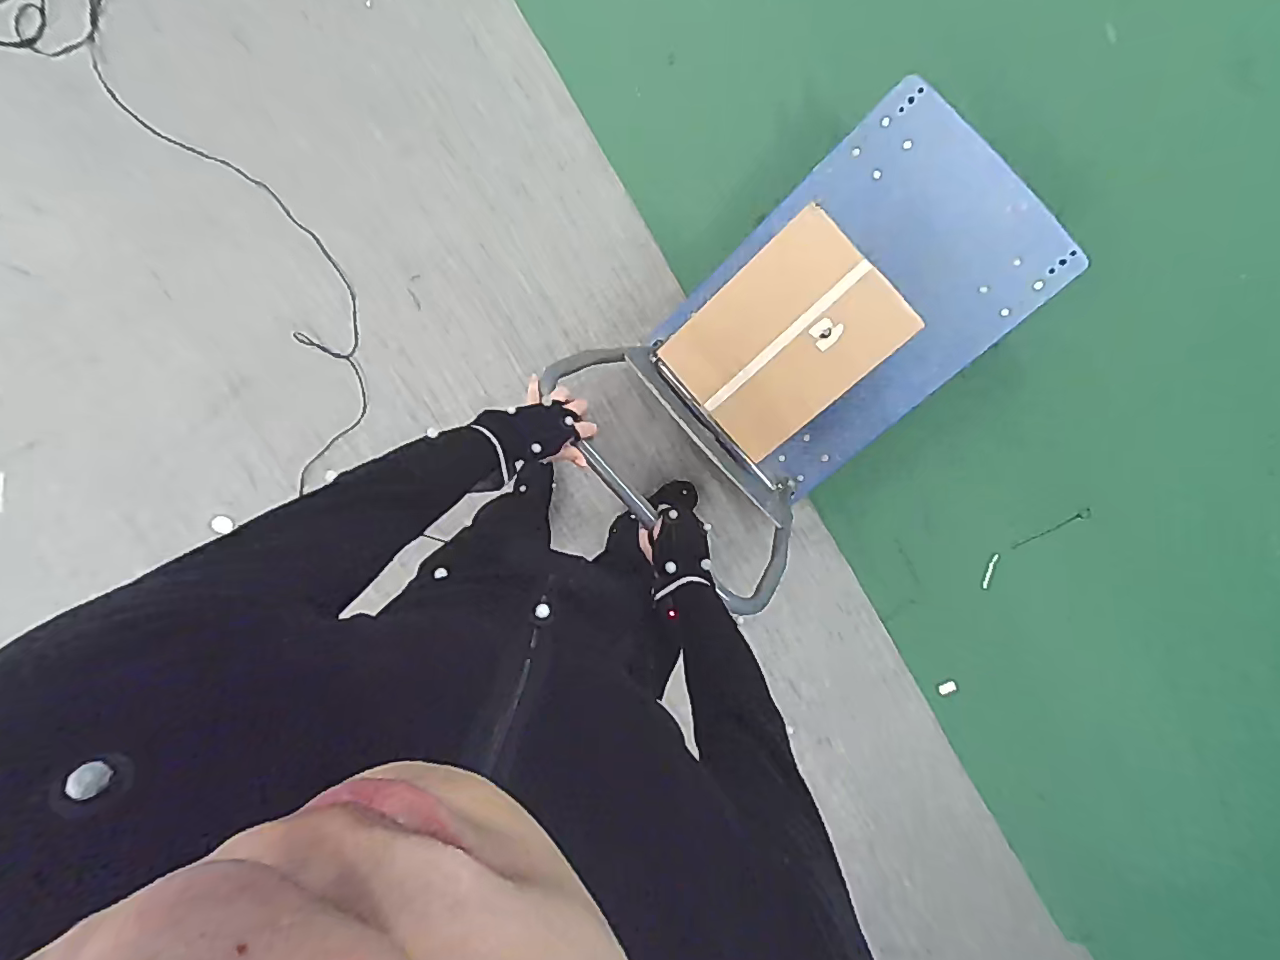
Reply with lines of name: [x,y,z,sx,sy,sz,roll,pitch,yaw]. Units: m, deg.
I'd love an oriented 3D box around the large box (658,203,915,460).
large box: [0.307,-0.303,1.202,0.408,0.320,0.320,-42,89,17]
